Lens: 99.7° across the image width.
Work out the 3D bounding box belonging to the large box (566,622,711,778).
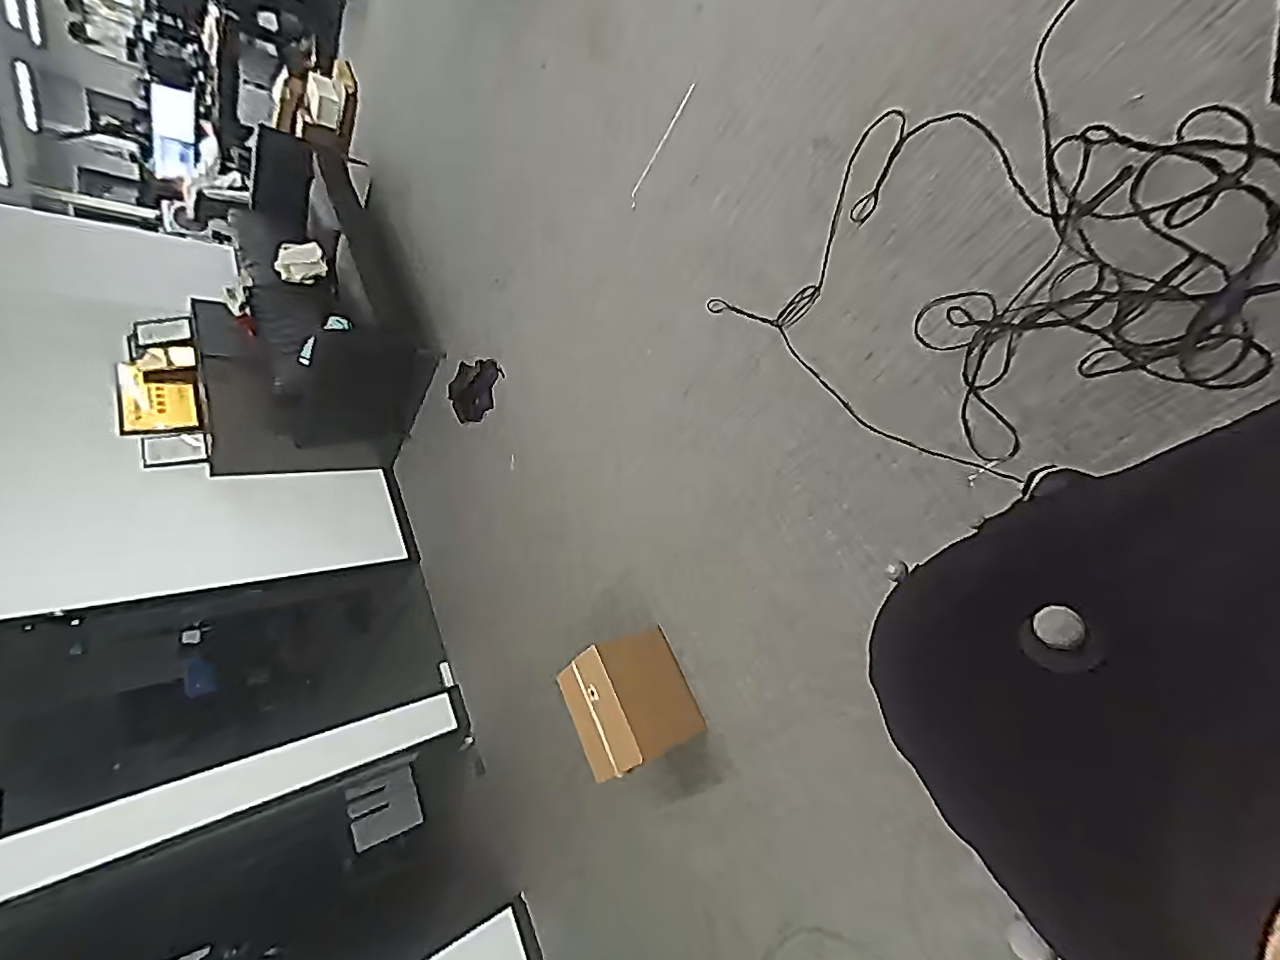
[{"bbox_3d":[-0.013,0.791,1.975,0.320,0.320,0.408,-48,58,38],"label":"large box"}]
